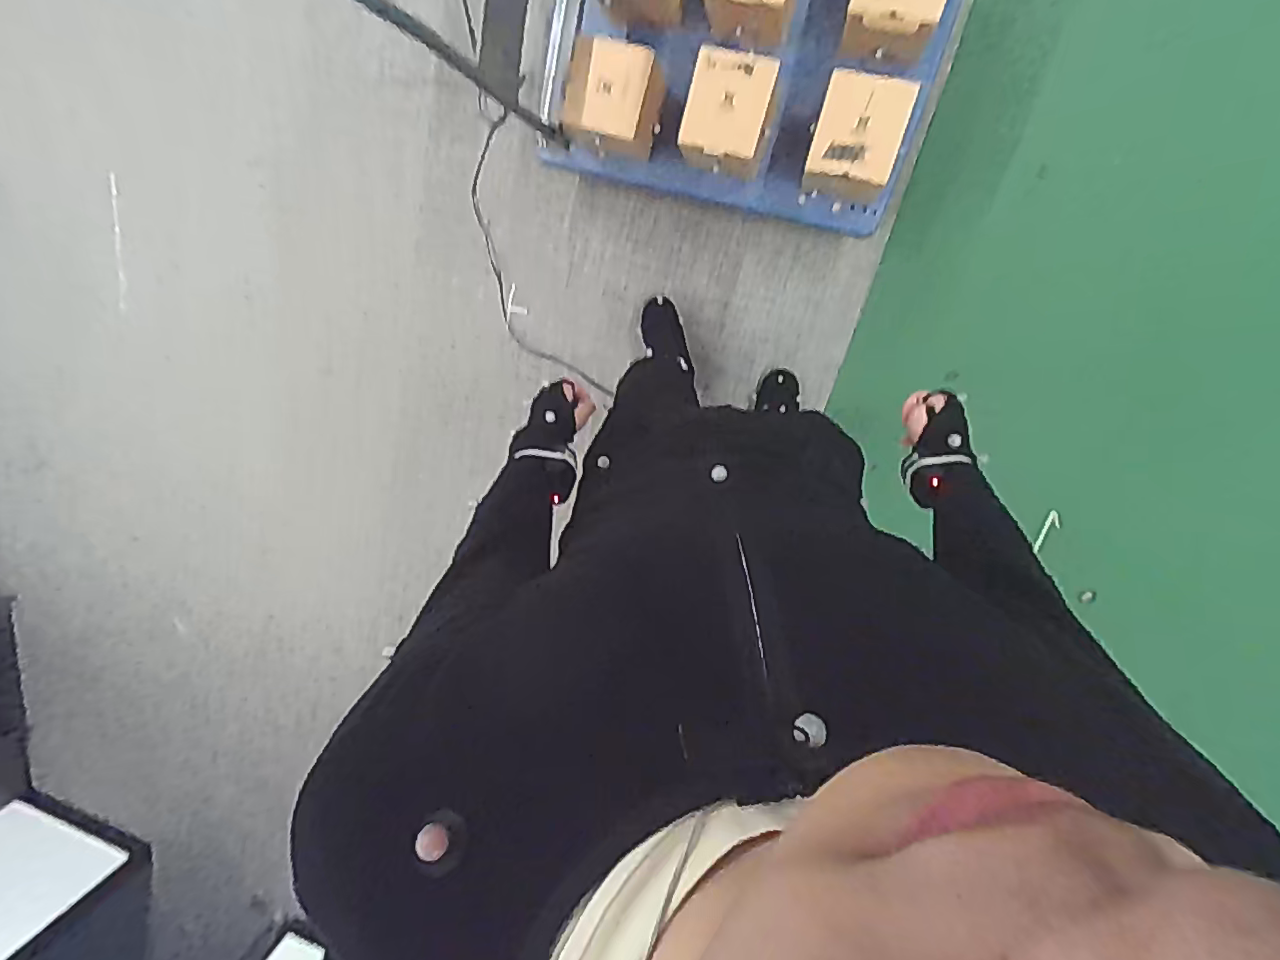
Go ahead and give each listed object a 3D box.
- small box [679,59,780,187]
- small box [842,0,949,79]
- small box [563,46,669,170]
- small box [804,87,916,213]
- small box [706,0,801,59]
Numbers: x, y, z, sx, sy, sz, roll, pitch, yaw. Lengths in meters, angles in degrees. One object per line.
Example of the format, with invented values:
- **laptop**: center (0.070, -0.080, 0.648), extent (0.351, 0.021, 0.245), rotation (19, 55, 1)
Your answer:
- **small box**: center (0.199, -0.765, 1.179), extent (0.168, 0.176, 0.179), rotation (19, 108, 8)
- **small box**: center (0.508, -0.933, 1.058), extent (0.168, 0.176, 0.179), rotation (18, 107, 10)
- **small box**: center (-0.049, -0.831, 1.225), extent (0.179, 0.176, 0.168), rotation (20, 108, 7)
- **small box**: center (0.455, -0.690, 1.151), extent (0.168, 0.176, 0.179), rotation (17, 107, 9)
- **small box**: center (0.245, -1.015, 1.107), extent (0.168, 0.176, 0.179), rotation (18, 109, 8)
